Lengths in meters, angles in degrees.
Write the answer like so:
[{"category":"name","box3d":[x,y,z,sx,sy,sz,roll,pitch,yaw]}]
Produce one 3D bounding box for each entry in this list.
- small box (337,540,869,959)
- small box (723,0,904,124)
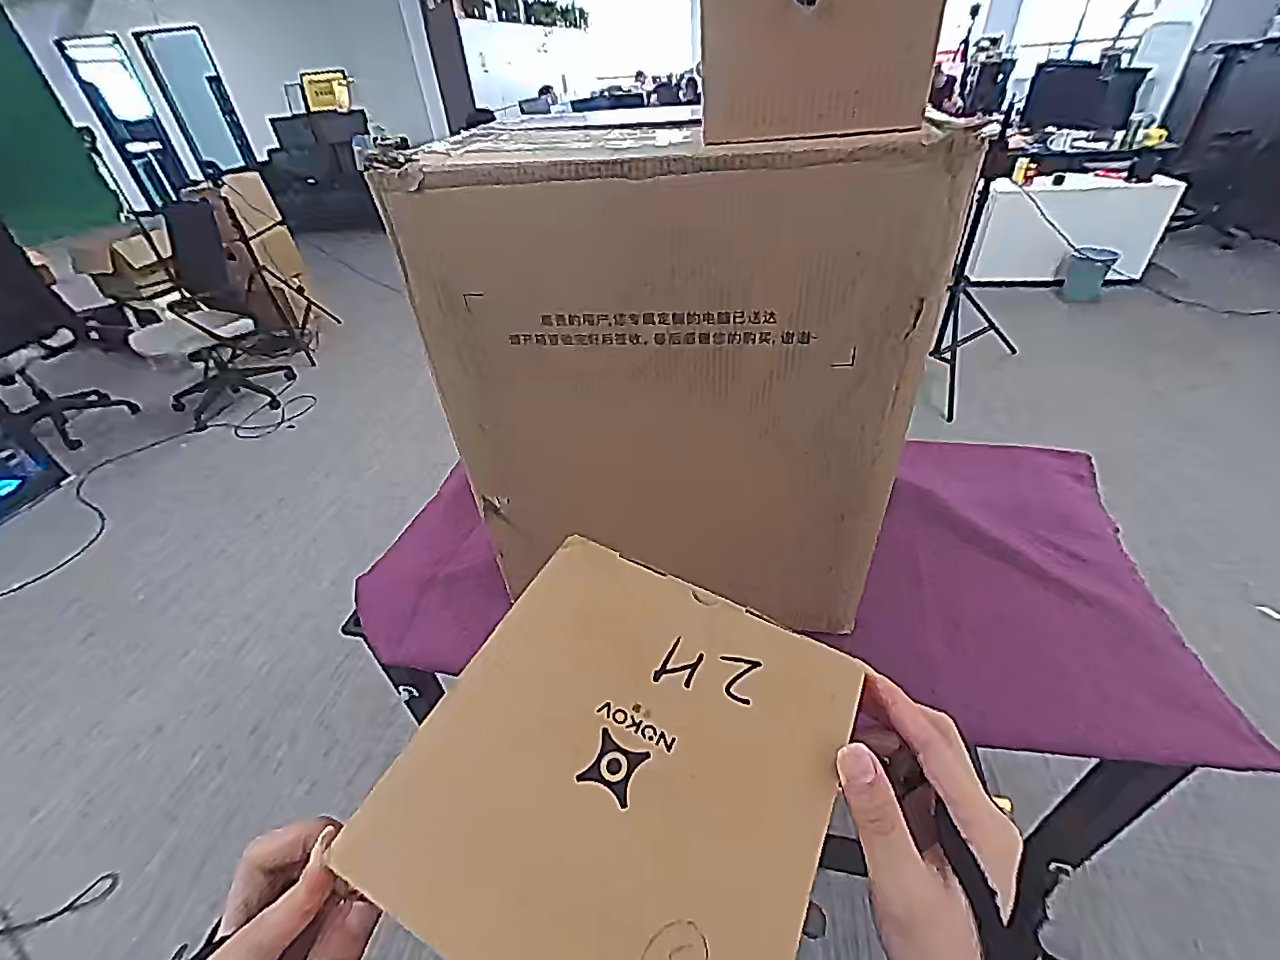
[{"category":"small box","box3d":[-0.004,0.171,0.285,0.168,0.176,0.179,22,50,18]},{"category":"small box","box3d":[0.181,-0.496,0.588,0.179,0.176,0.168,2,38,10]}]
